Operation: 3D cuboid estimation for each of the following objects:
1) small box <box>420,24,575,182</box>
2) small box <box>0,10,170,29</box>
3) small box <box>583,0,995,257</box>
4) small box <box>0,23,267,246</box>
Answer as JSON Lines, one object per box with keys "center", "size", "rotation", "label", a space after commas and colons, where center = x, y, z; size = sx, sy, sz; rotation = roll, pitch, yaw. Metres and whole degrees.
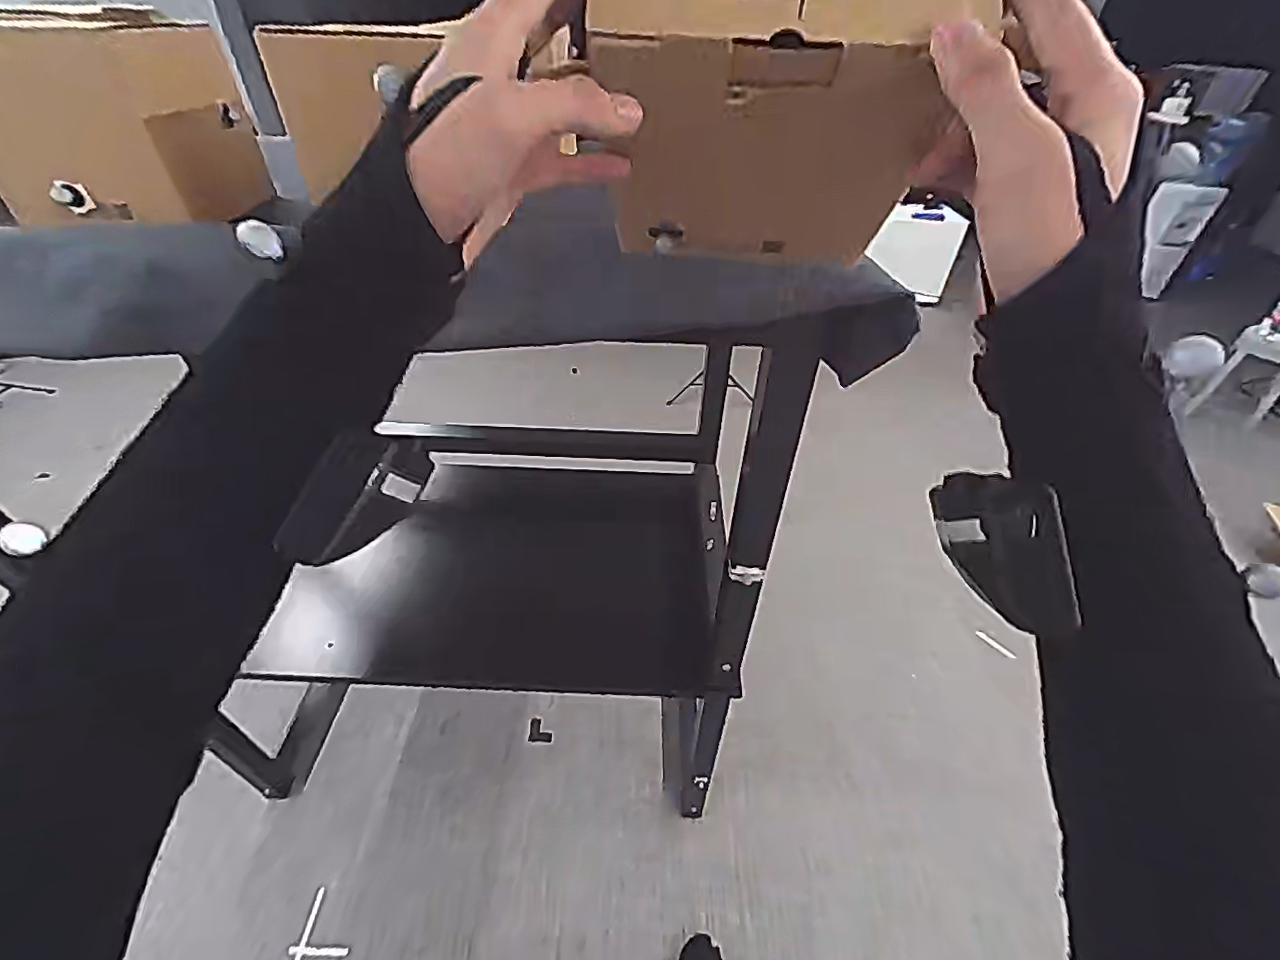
{"center": [-0.187, -0.538, 0.774], "size": [0.168, 0.176, 0.179], "rotation": [1, 42, 0], "label": "small box"}
{"center": [-0.764, -0.549, 0.768], "size": [0.179, 0.176, 0.168], "rotation": [1, 42, -2], "label": "small box"}
{"center": [0.069, -0.248, 0.304], "size": [0.168, 0.176, 0.179], "rotation": [4, 83, 3], "label": "small box"}
{"center": [-0.525, -0.352, 0.552], "size": [0.168, 0.176, 0.179], "rotation": [-2, 40, -2], "label": "small box"}
